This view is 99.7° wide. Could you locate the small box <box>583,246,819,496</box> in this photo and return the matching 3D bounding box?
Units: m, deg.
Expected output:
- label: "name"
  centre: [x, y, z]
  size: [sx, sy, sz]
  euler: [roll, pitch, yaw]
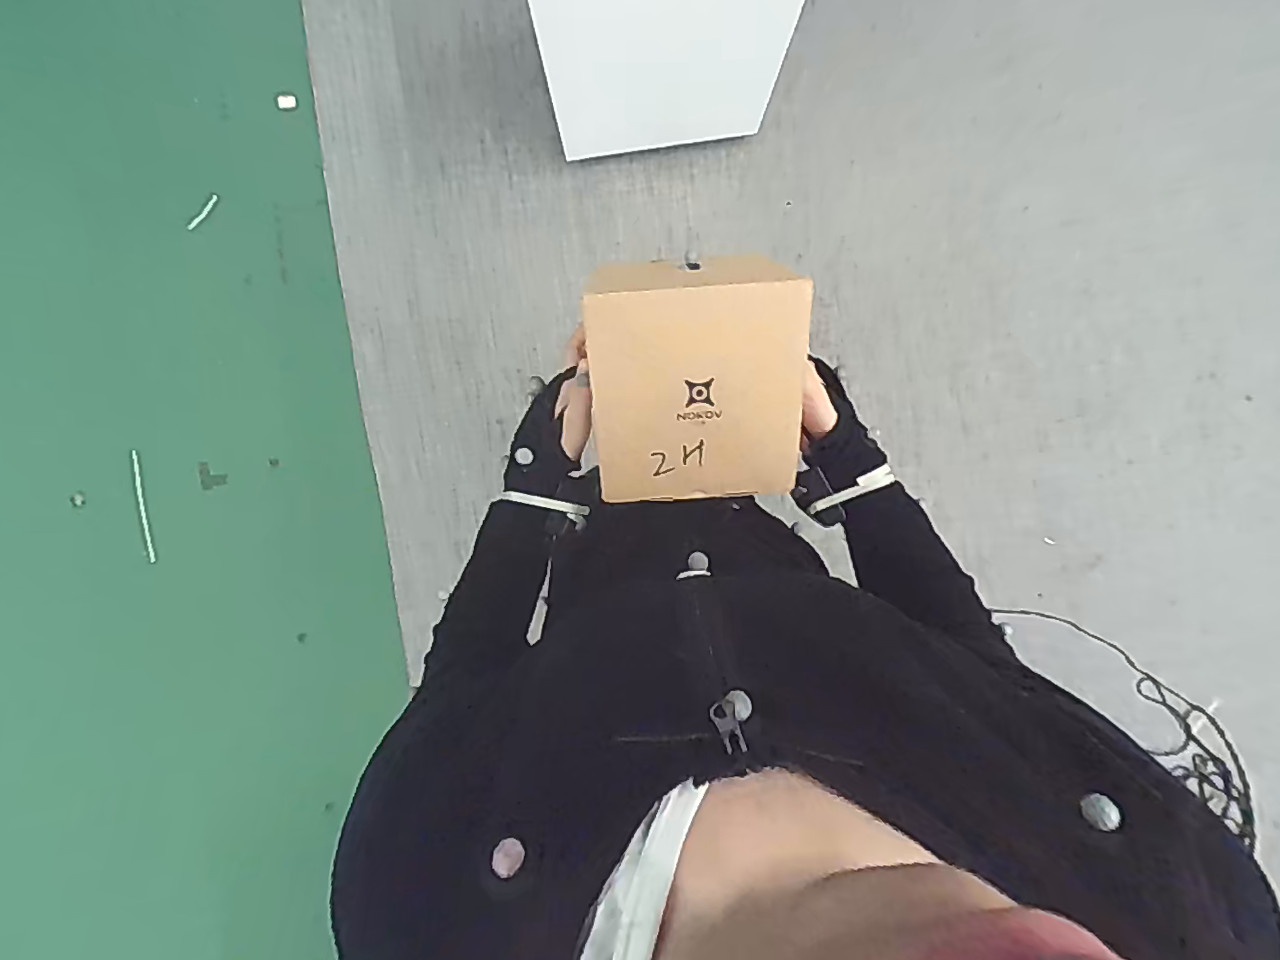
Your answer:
- label: "small box"
  centre: [0.044, -0.105, 0.474]
  size: [0.168, 0.176, 0.179]
  euler: [-4, 118, 1]
